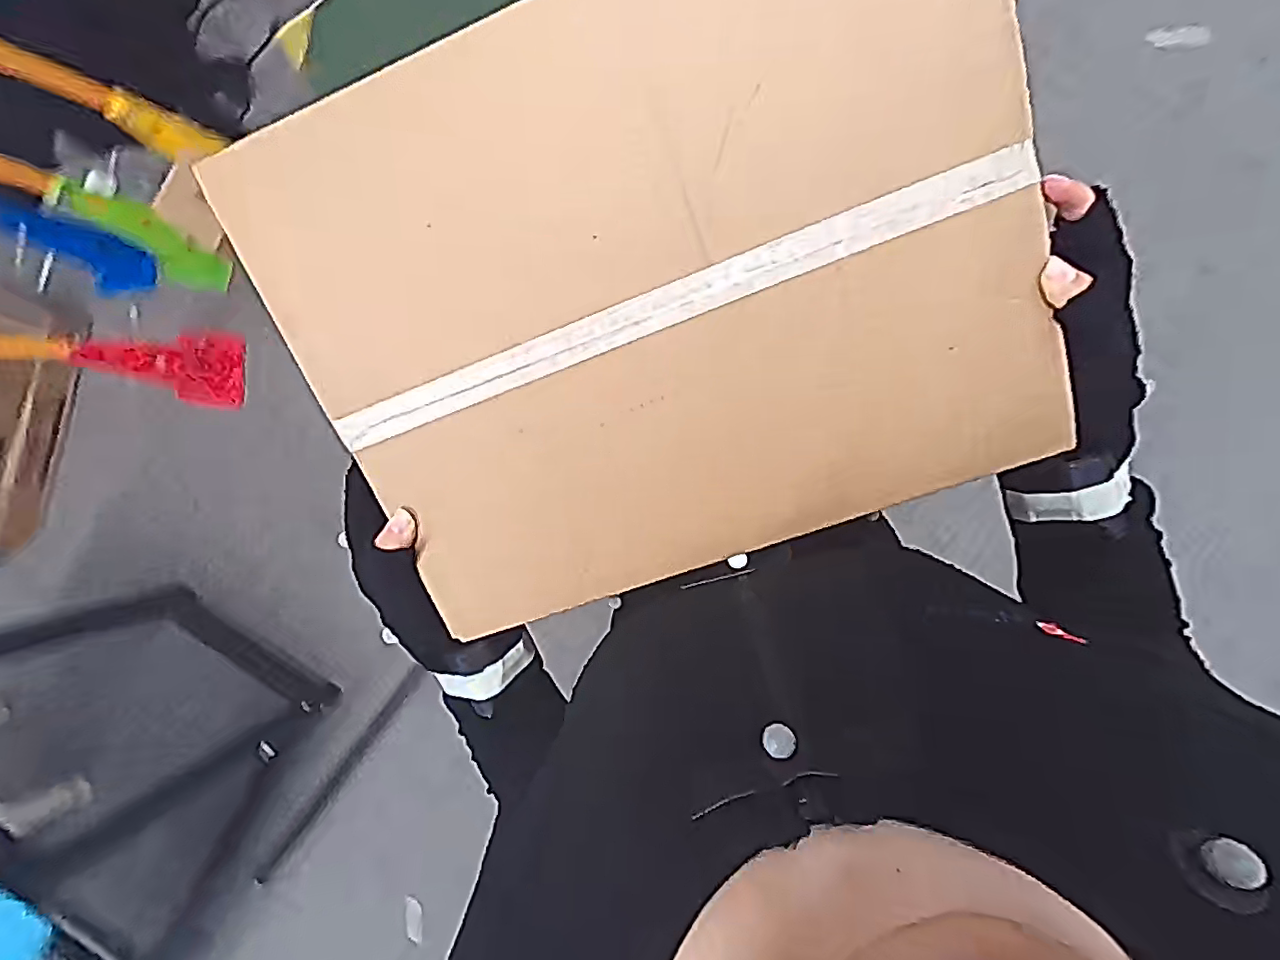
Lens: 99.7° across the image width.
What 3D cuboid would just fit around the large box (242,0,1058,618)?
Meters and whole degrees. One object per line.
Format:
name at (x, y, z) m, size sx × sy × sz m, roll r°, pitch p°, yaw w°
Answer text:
large box at (0.019, -0.145, 0.451) m, size 0.408 × 0.320 × 0.320 m, roll -18°, pitch 107°, yaw 8°
